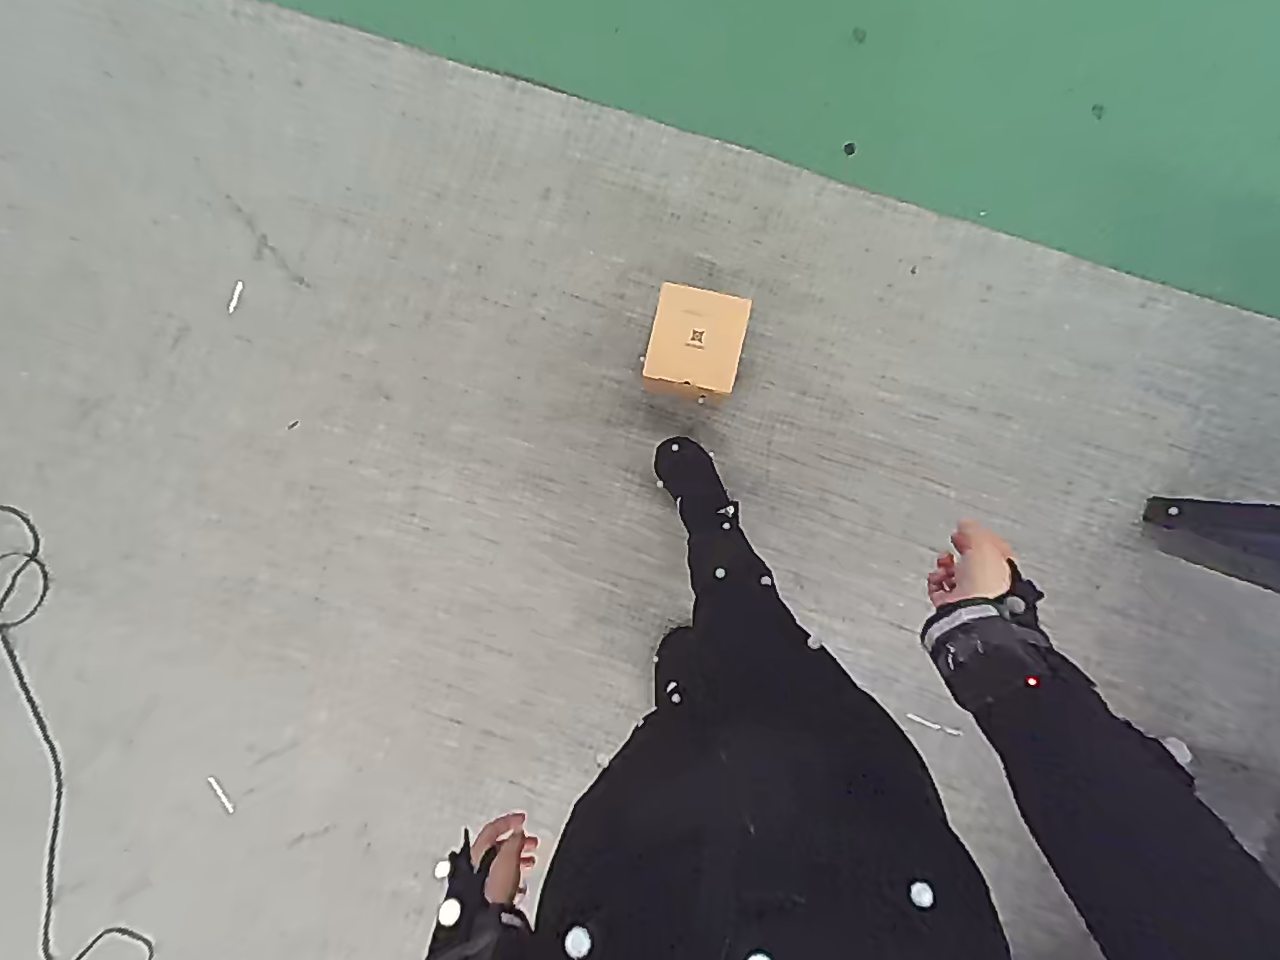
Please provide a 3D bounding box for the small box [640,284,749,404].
[{"bbox_3d":[0.101,-0.252,1.049,0.168,0.176,0.179,12,91,1],"label":"small box"}]
